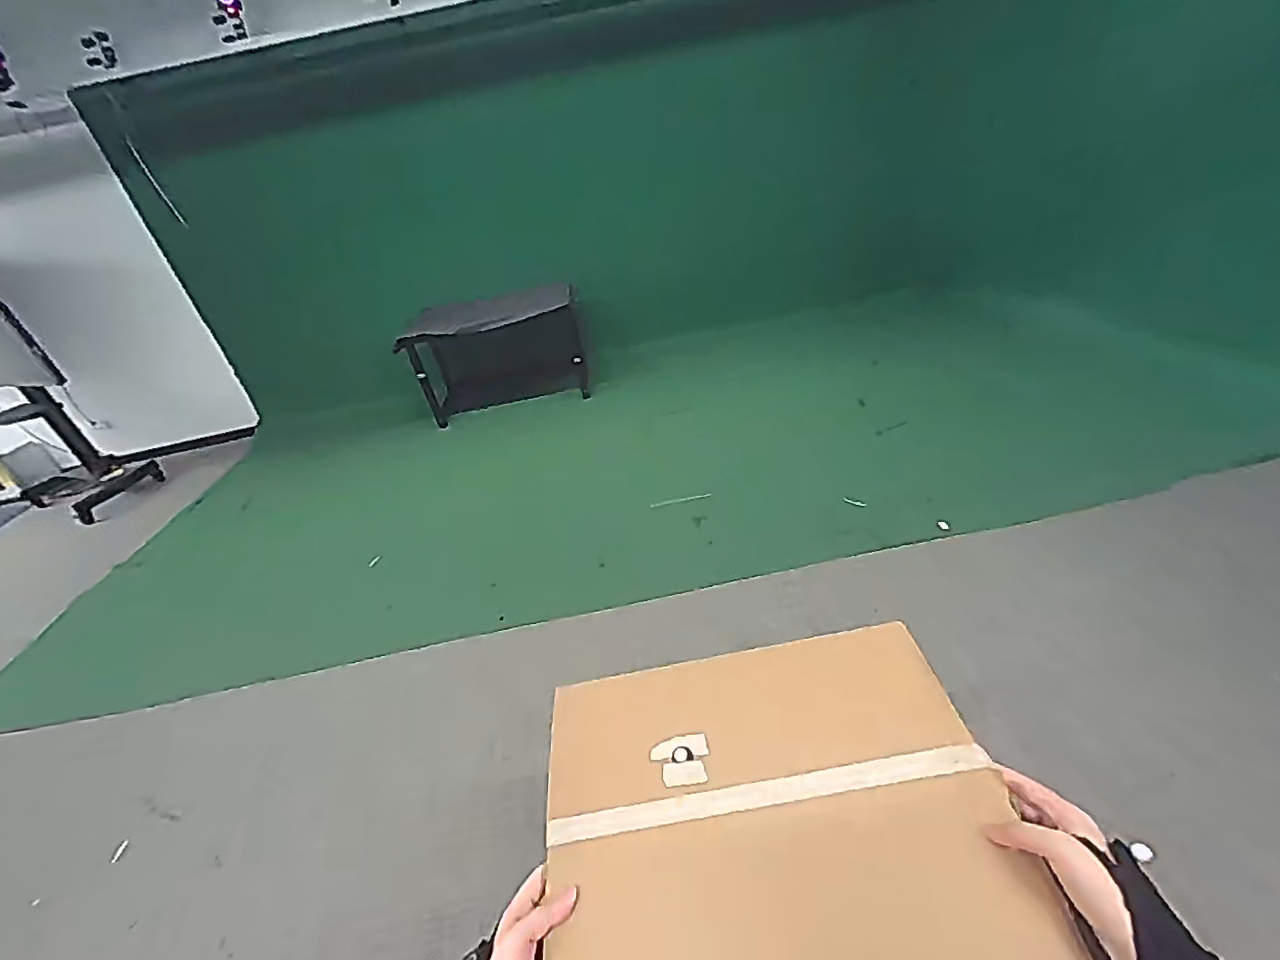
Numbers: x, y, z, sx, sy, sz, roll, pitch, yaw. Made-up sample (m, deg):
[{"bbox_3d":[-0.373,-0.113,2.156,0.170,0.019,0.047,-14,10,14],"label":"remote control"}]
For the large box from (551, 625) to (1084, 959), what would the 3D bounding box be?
[{"bbox_3d":[0.145,0.415,0.596,0.408,0.320,0.320,-14,36,5],"label":"large box"}]
